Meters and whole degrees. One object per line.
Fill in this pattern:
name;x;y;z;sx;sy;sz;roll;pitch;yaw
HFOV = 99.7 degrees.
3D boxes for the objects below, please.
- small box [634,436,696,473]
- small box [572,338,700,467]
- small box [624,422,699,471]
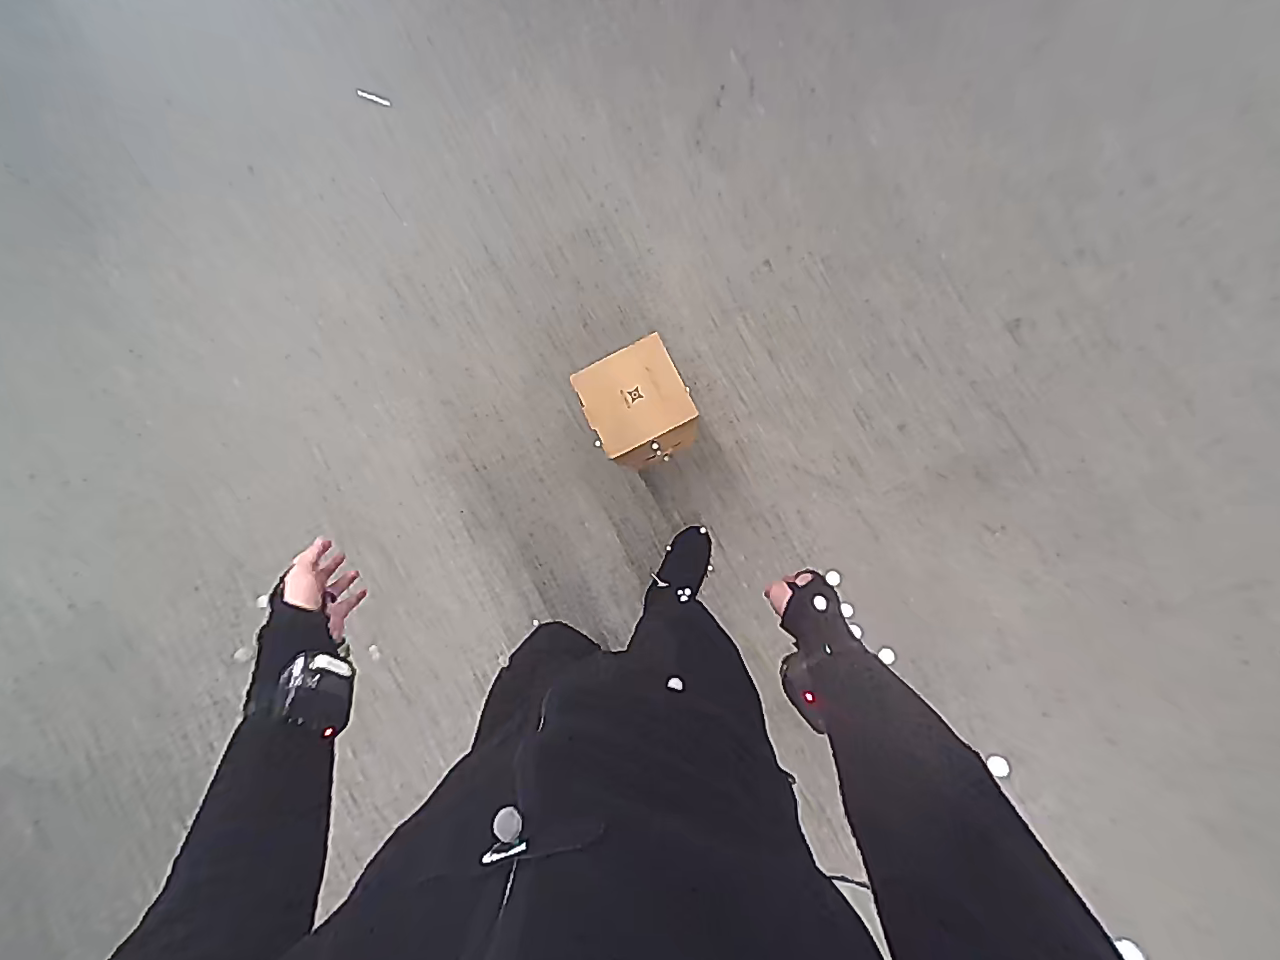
small box;0.027;-0.128;1.338;0.168;0.176;0.179;-27;86;1
small box;-0.003;-0.133;1.013;0.179;0.176;0.168;-27;87;1
small box;0.011;-0.132;1.174;0.179;0.176;0.168;-28;85;2
